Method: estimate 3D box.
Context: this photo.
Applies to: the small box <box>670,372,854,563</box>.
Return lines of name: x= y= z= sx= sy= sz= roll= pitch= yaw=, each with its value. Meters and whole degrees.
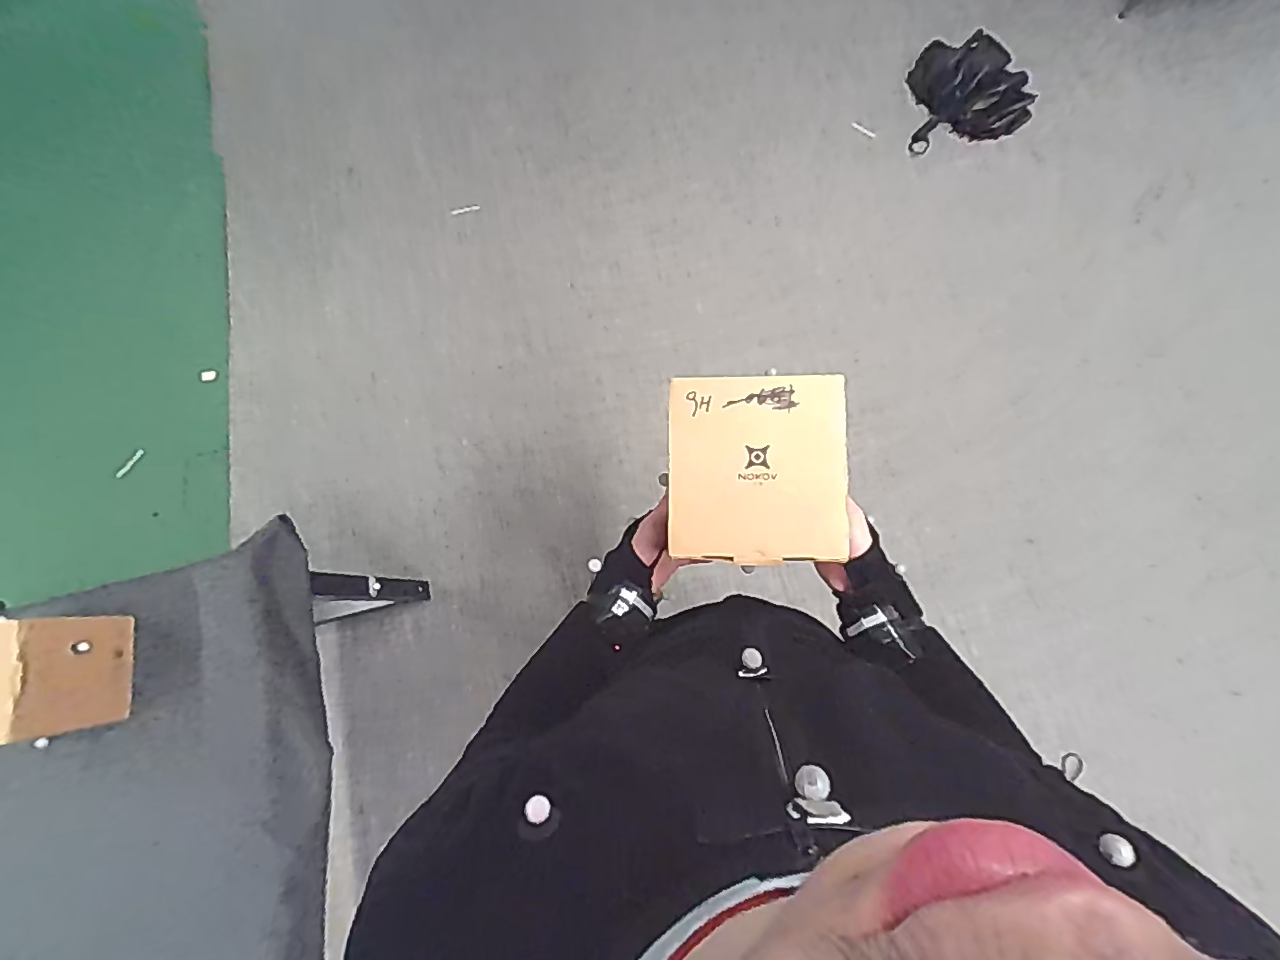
small box: x=0.119 y=-0.006 z=0.574 sx=0.168 sy=0.176 sz=0.179 roll=0 pitch=84 yaw=5

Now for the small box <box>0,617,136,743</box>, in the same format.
small box: x=-0.922 y=0.302 z=0.816 sx=0.179 sy=0.176 sz=0.168 roll=-11 pitch=75 yaw=3
